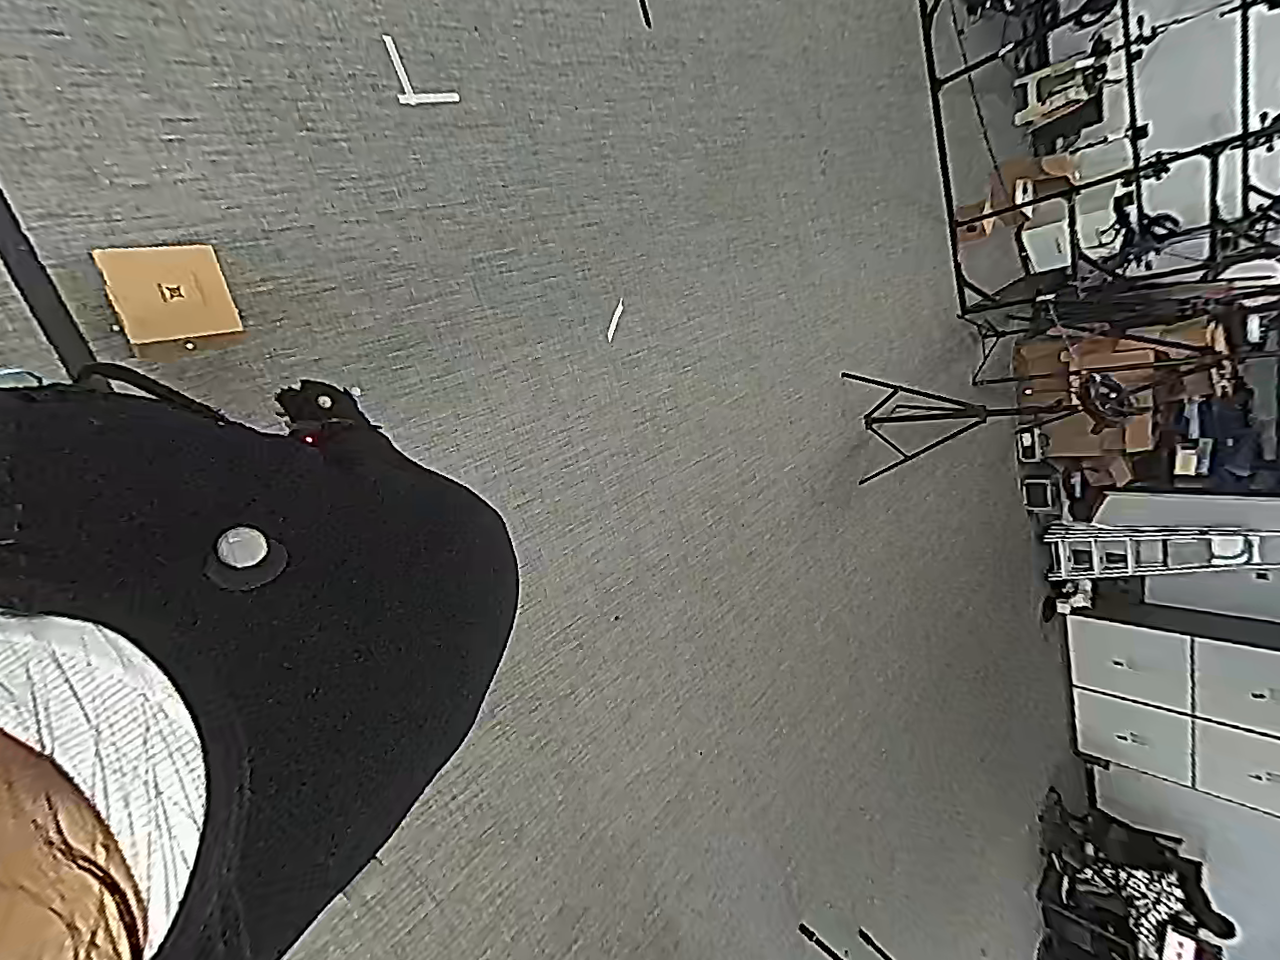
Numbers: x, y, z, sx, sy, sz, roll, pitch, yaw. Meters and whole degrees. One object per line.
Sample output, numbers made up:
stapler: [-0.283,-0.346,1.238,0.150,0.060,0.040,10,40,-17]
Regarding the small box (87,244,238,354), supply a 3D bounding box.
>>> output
small box: [-0.927,-0.352,1.063,0.179,0.176,0.168,-23,106,-38]
